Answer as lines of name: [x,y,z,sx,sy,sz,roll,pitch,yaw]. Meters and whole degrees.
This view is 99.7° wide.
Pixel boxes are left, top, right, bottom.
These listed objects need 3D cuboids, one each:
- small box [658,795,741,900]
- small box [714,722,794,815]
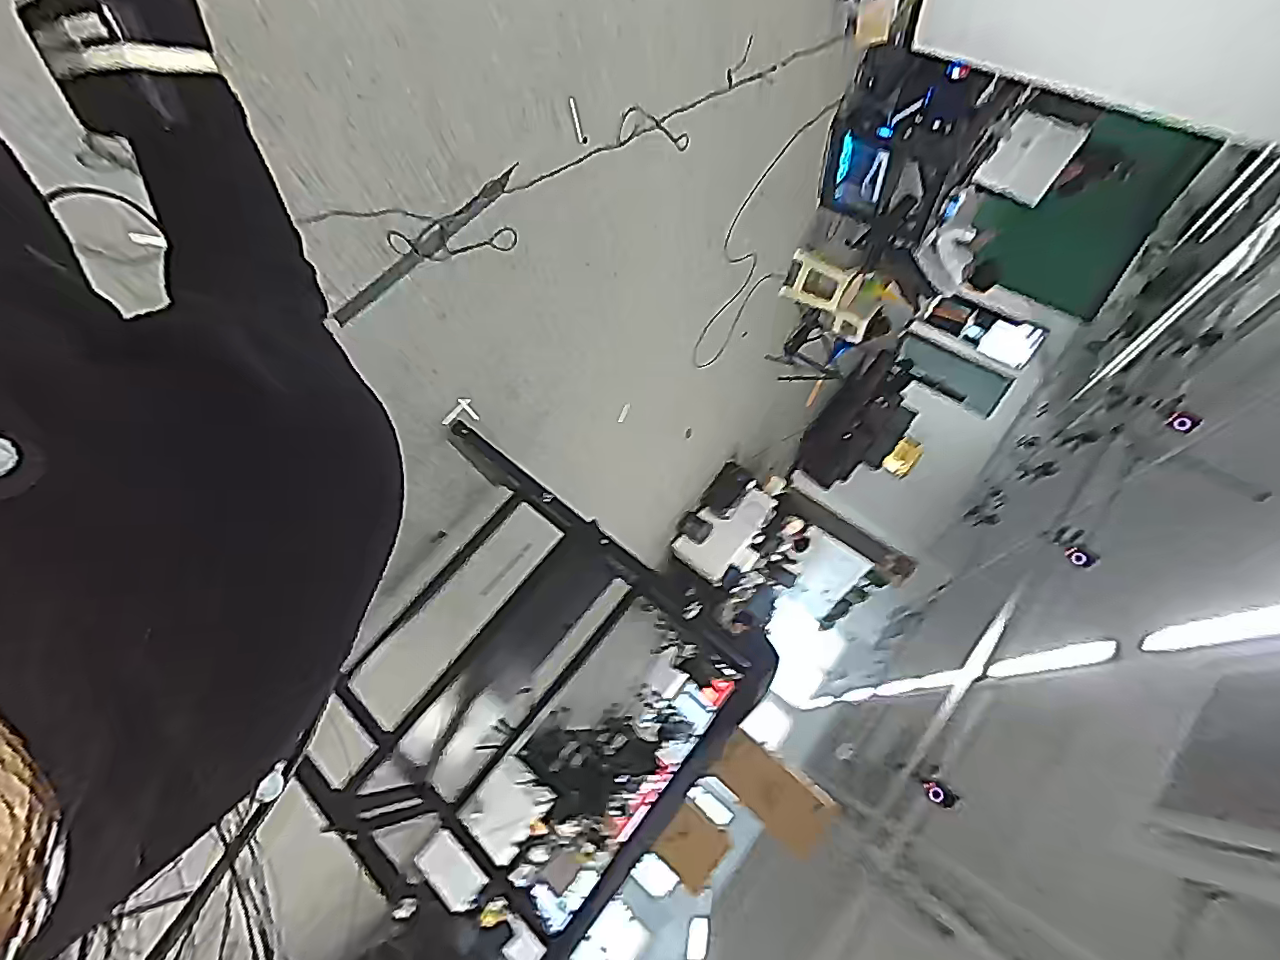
small box: [0.168,1.033,1.543,0.168,0.176,0.179,-50,160,-13]
small box: [0.330,0.841,1.595,0.168,0.176,0.179,-49,160,-10]
